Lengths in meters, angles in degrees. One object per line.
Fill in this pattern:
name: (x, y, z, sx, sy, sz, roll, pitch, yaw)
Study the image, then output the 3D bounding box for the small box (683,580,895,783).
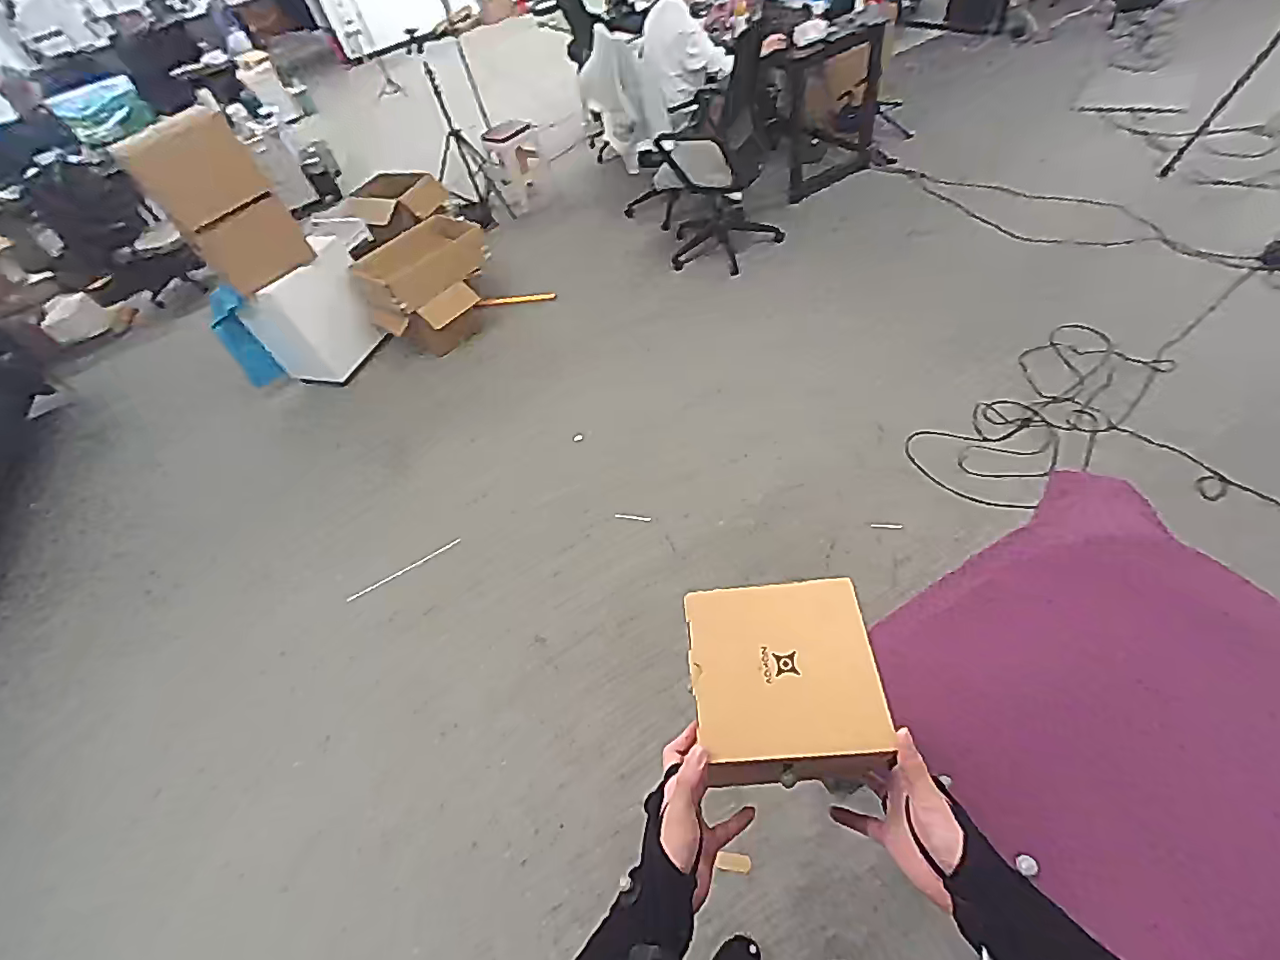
small box: (0.145, 0.224, 0.586, 0.179, 0.176, 0.168, -8, 55, 6)
